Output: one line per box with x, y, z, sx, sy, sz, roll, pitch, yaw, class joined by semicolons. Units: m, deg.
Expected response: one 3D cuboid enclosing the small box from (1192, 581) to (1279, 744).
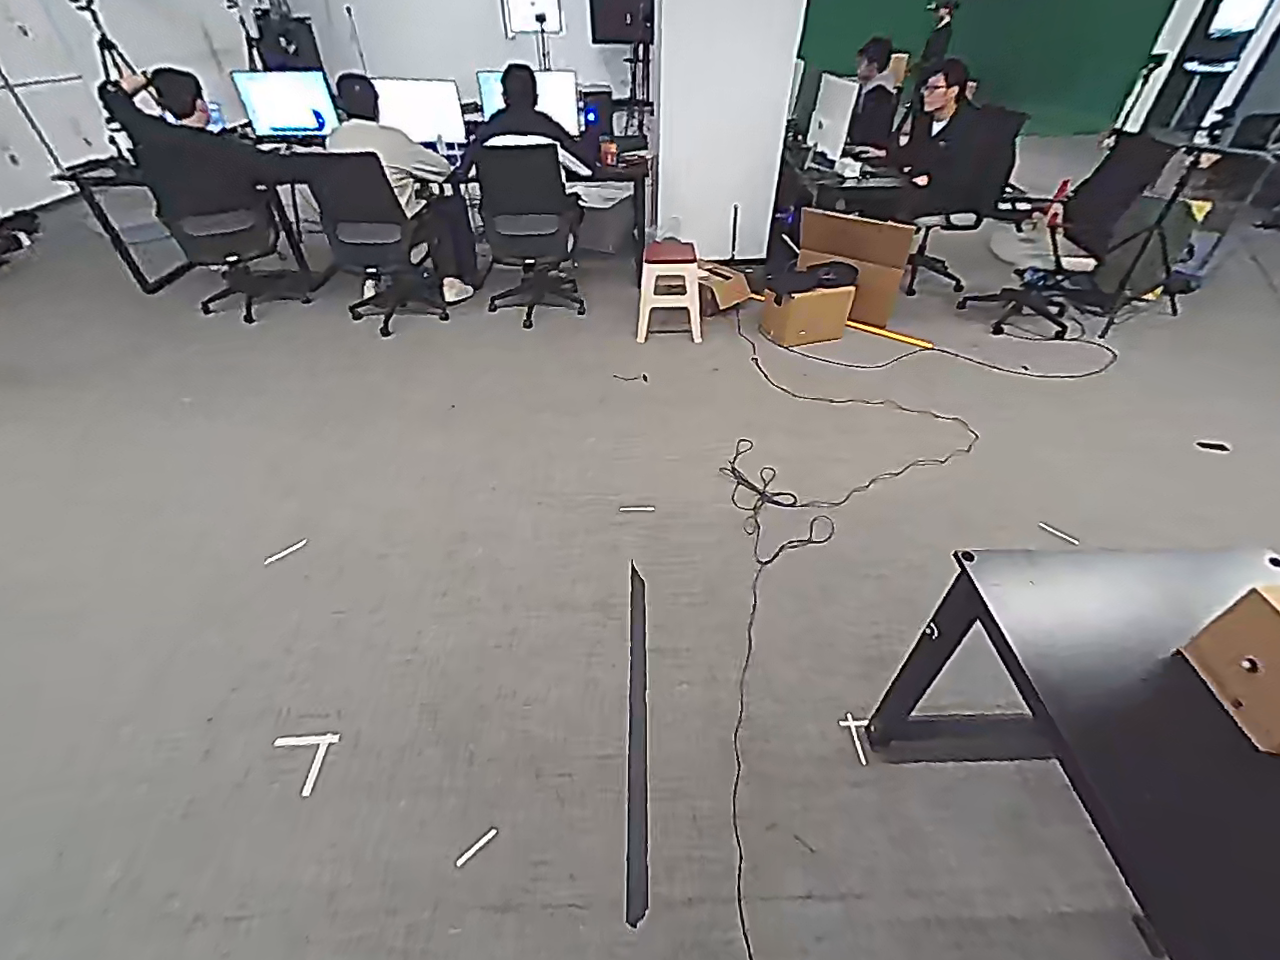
0.952;0.261;0.761;0.179;0.176;0.168;1;42;2;small box
